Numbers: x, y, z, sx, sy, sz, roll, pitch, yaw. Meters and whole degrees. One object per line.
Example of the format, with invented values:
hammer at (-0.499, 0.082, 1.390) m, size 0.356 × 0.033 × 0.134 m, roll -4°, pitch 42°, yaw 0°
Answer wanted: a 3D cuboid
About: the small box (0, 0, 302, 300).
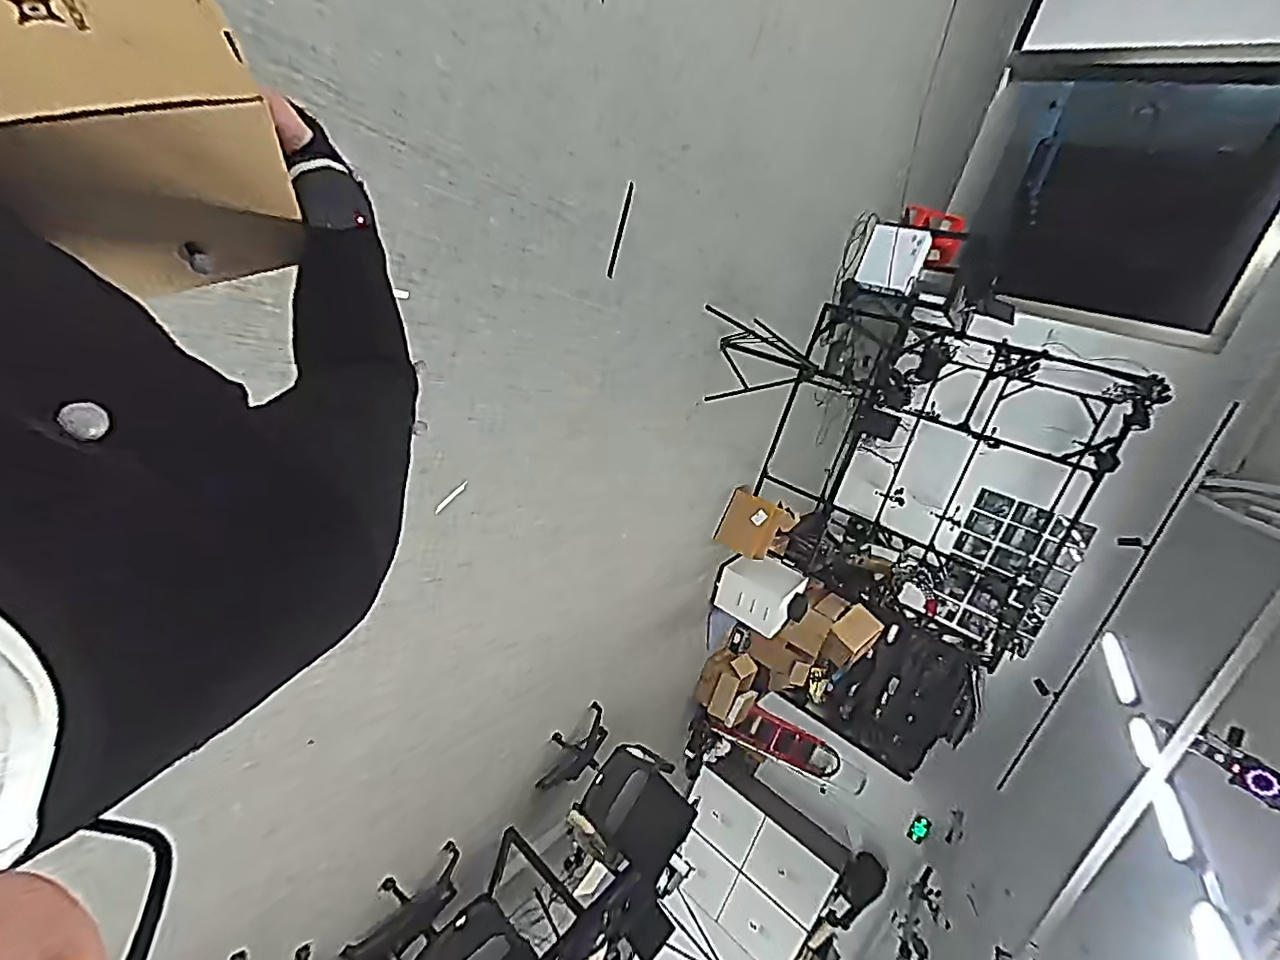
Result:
small box at (-0.399, -0.276, 0.431) m, size 0.179 × 0.168 × 0.176 m, roll -28°, pitch 173°, yaw -26°
